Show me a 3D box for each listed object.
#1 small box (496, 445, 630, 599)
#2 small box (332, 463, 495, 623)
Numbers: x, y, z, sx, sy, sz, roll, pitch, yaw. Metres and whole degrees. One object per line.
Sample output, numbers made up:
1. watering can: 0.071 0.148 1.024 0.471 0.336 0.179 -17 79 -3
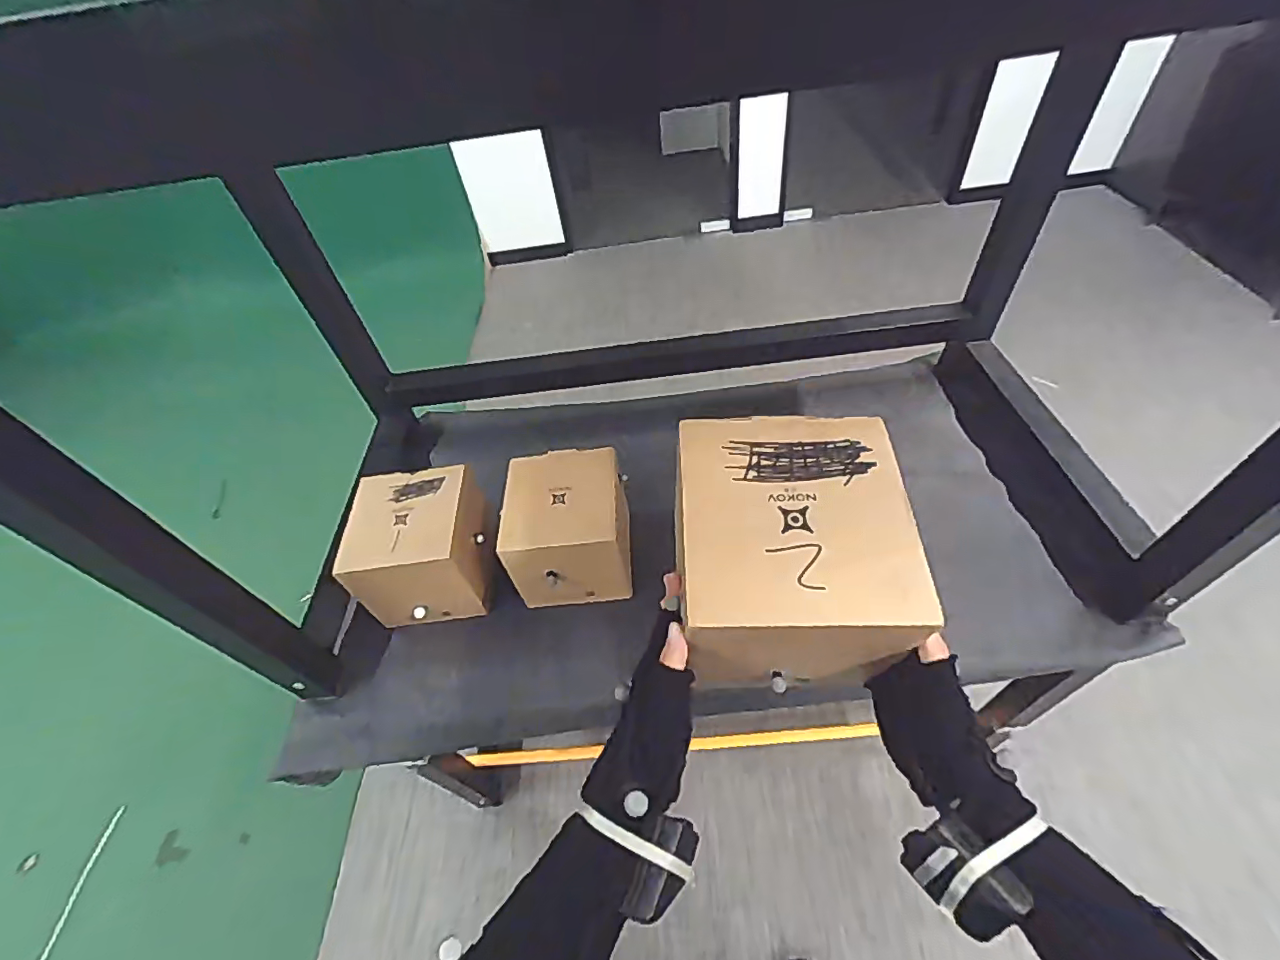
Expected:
1. small box: -0.108 0.072 0.835 0.168 0.176 0.179 -6 48 3
2. small box: -0.333 0.099 0.841 0.168 0.176 0.179 -7 49 2
